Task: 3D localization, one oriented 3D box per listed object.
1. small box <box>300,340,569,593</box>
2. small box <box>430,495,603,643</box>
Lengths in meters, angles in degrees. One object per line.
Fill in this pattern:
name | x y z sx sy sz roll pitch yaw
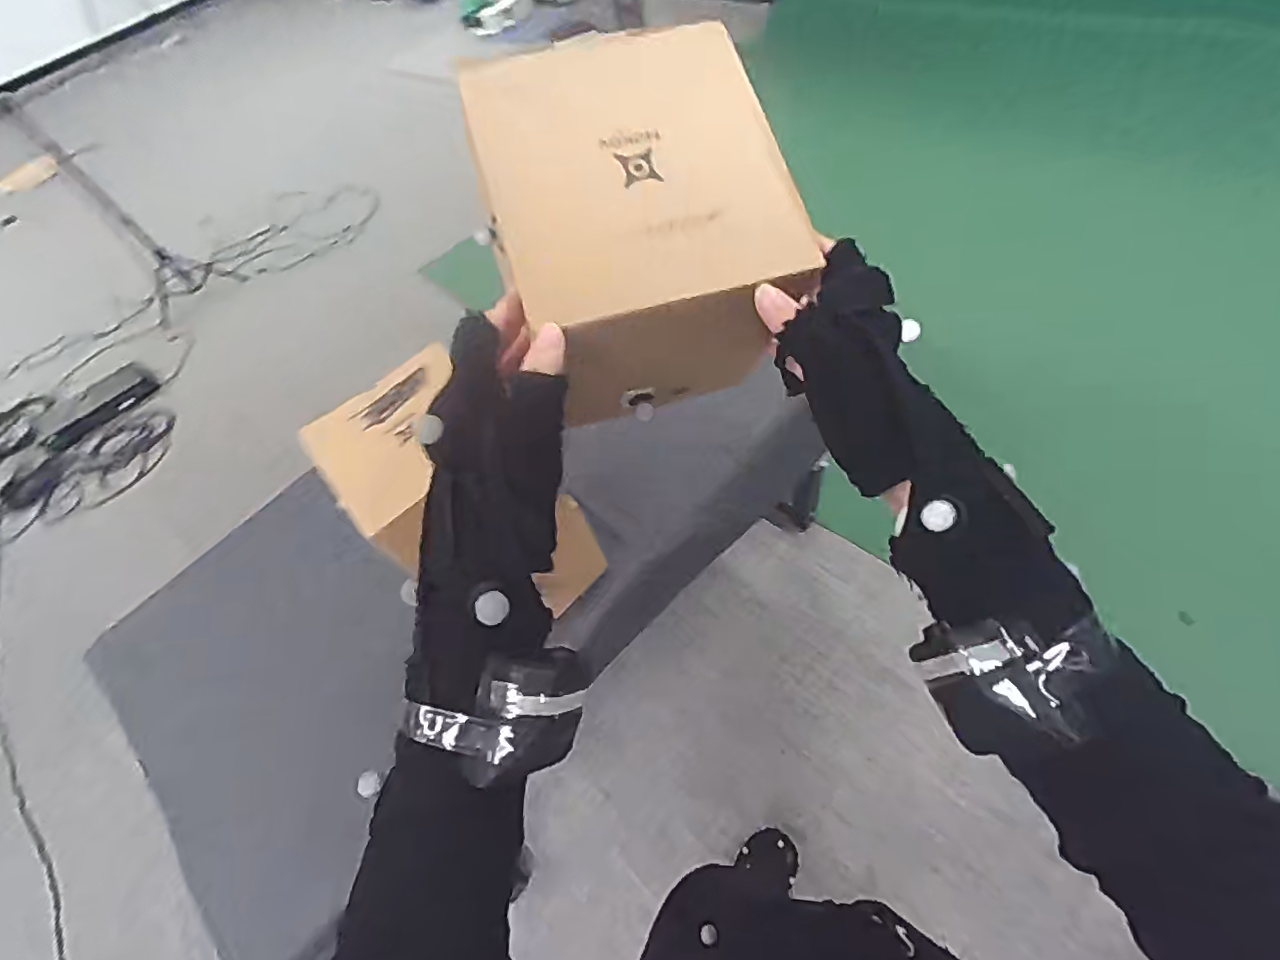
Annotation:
small box | -0.206 -0.011 0.574 0.168 0.176 0.179 -43 56 -16
small box | -0.173 0.082 0.706 0.179 0.176 0.168 -43 58 -15
